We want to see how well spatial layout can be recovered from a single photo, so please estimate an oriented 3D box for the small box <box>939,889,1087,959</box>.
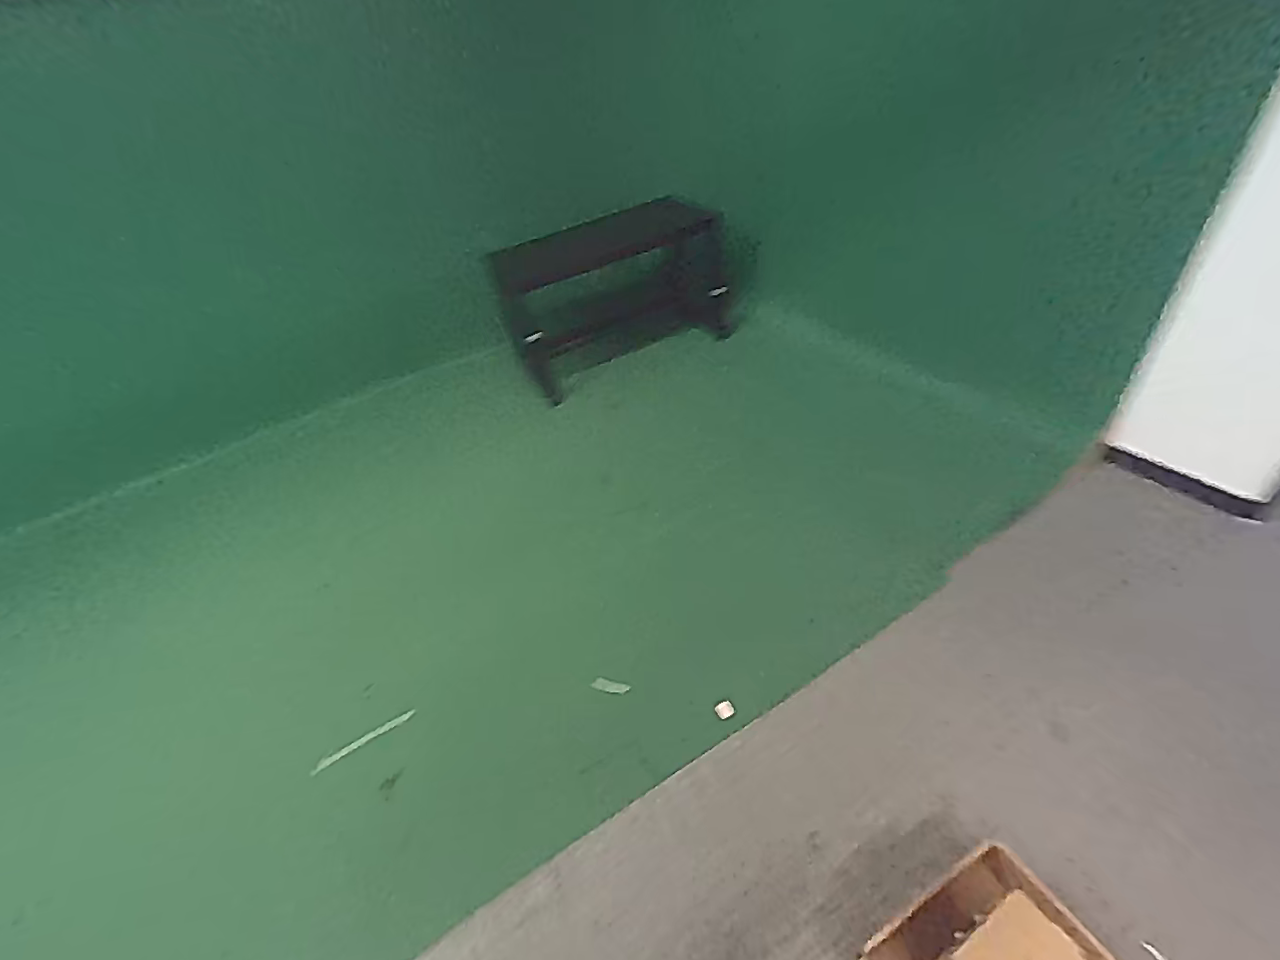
[{"bbox_3d":[0.646,0.857,0.928,0.179,0.176,0.168,-27,43,-17],"label":"small box"}]
